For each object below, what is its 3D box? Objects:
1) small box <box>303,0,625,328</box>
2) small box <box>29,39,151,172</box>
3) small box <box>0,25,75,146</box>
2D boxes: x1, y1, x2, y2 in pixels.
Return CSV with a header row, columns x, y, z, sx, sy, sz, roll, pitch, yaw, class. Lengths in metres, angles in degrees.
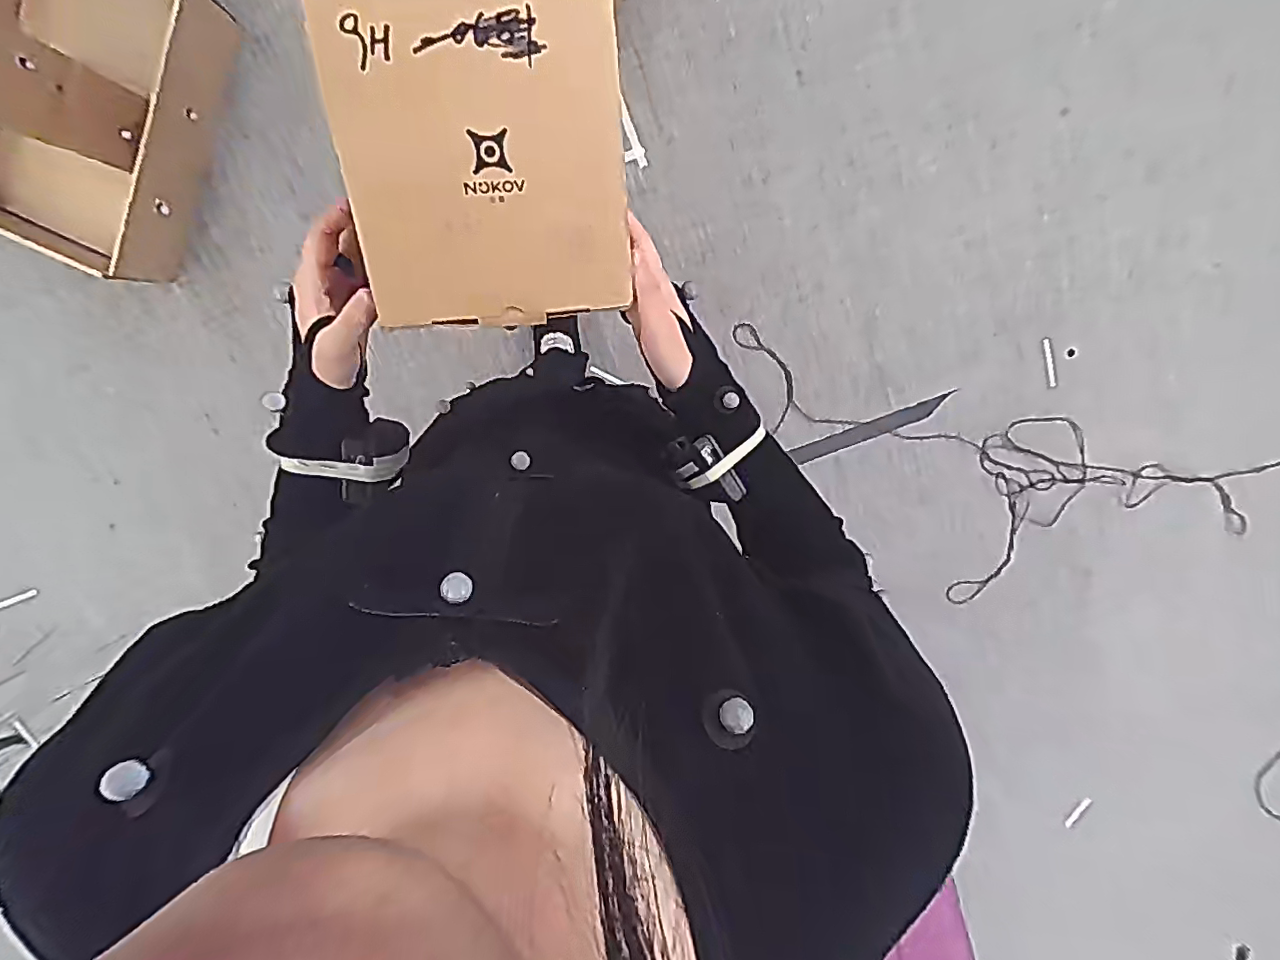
x,y,z,sx,sy,sz,roll,pitch,yaw,class
-0.111,-0.218,0.396,0.168,0.176,0.179,-9,115,-13,small box
-1.174,-0.768,1.107,0.179,0.176,0.168,24,102,-10,small box
-1.168,-0.724,0.951,0.179,0.176,0.168,20,101,-8,small box
